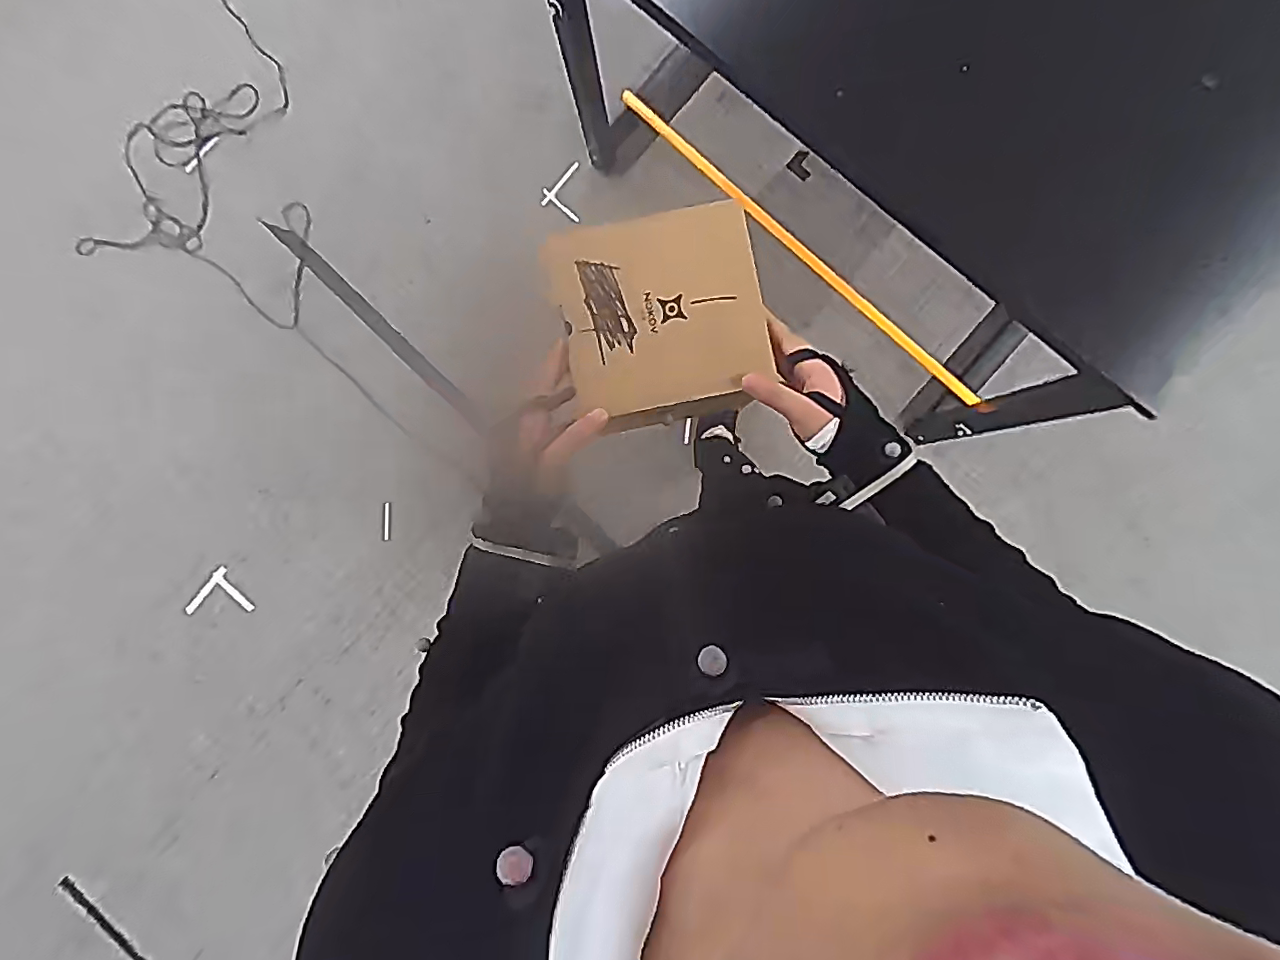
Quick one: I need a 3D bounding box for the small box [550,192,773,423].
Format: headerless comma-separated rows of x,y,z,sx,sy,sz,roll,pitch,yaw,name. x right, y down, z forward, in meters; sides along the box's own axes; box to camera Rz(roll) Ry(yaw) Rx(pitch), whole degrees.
0.020,-0.159,0.557,0.179,0.176,0.168,-11,90,0,small box
